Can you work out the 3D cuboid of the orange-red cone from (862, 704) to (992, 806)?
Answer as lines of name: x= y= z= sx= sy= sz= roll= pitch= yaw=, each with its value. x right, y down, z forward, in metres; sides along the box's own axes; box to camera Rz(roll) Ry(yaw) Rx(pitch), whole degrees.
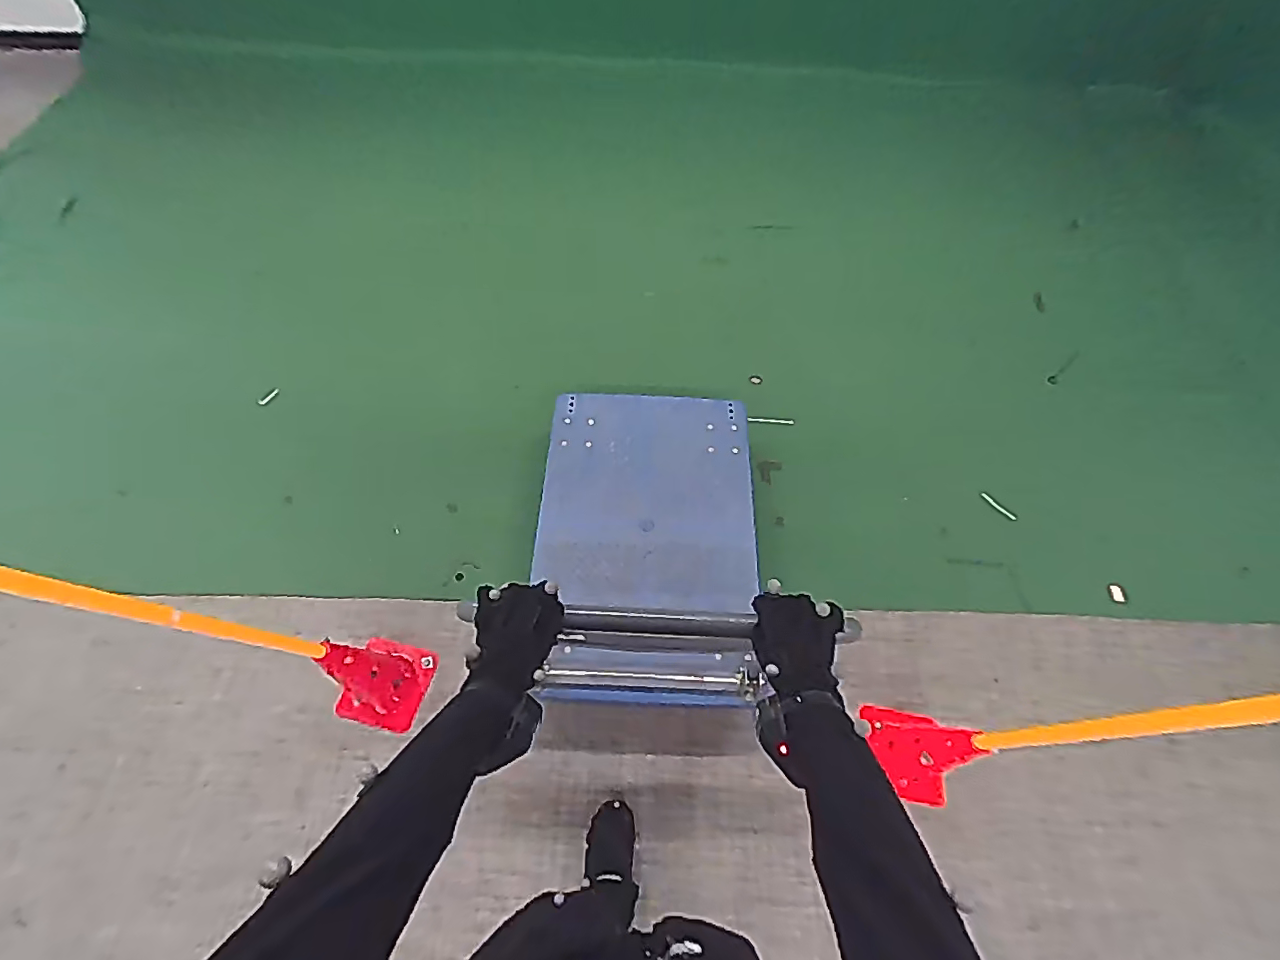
orange-red cone: x=0.643 y=0.580 z=1.166 sx=0.198 sy=0.360 sz=0.199 roll=11 pitch=61 yaw=6
